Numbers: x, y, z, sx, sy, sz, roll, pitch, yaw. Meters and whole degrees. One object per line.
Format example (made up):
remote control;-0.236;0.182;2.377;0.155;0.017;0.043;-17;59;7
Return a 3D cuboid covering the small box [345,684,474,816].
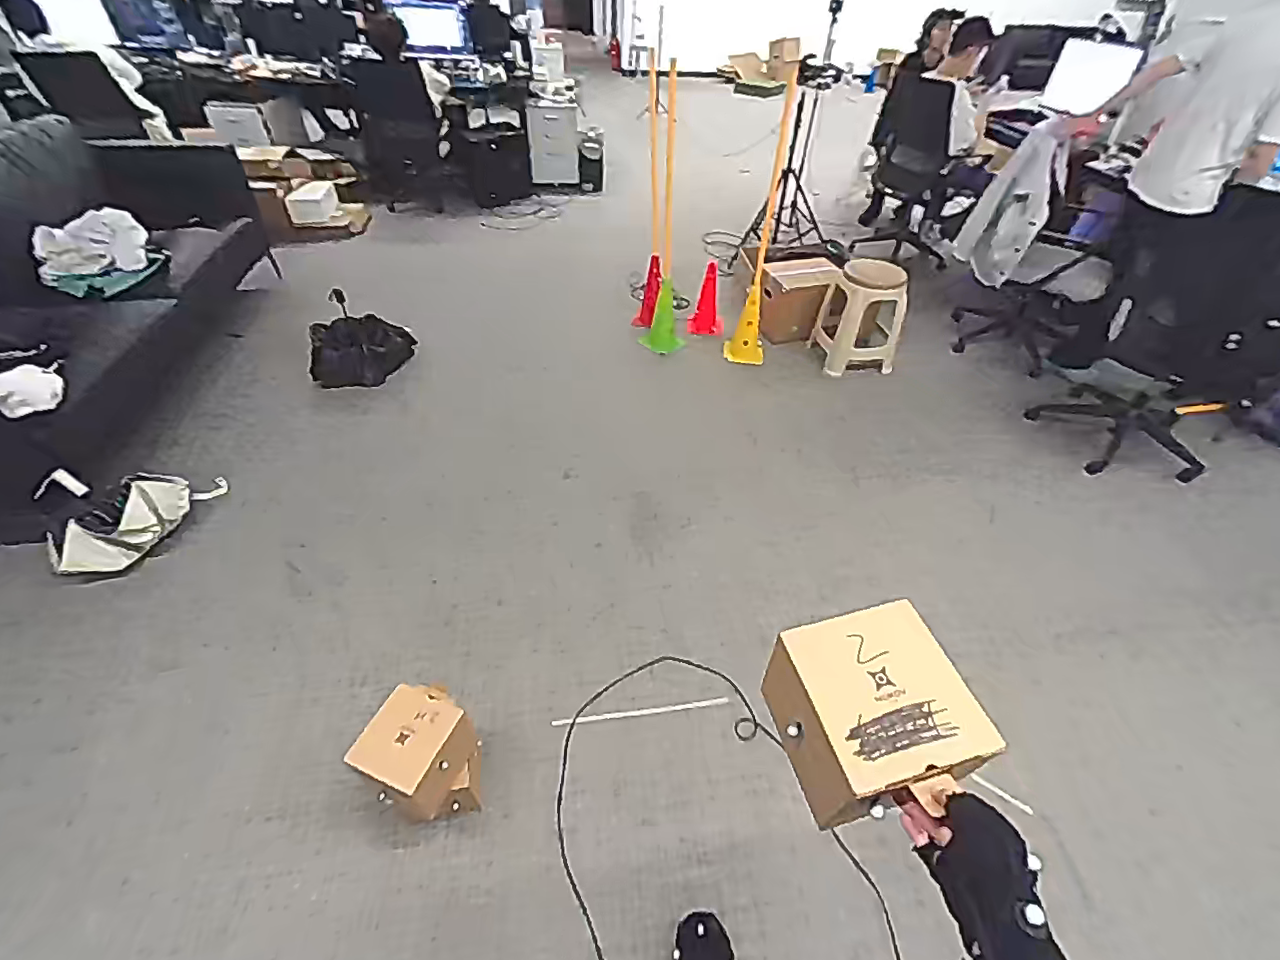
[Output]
small box;-0.474;0.574;1.146;0.168;0.176;0.179;17;45;14

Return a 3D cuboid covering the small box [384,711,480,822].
small box;-0.473;0.668;1.261;0.179;0.176;0.168;-8;44;-9
